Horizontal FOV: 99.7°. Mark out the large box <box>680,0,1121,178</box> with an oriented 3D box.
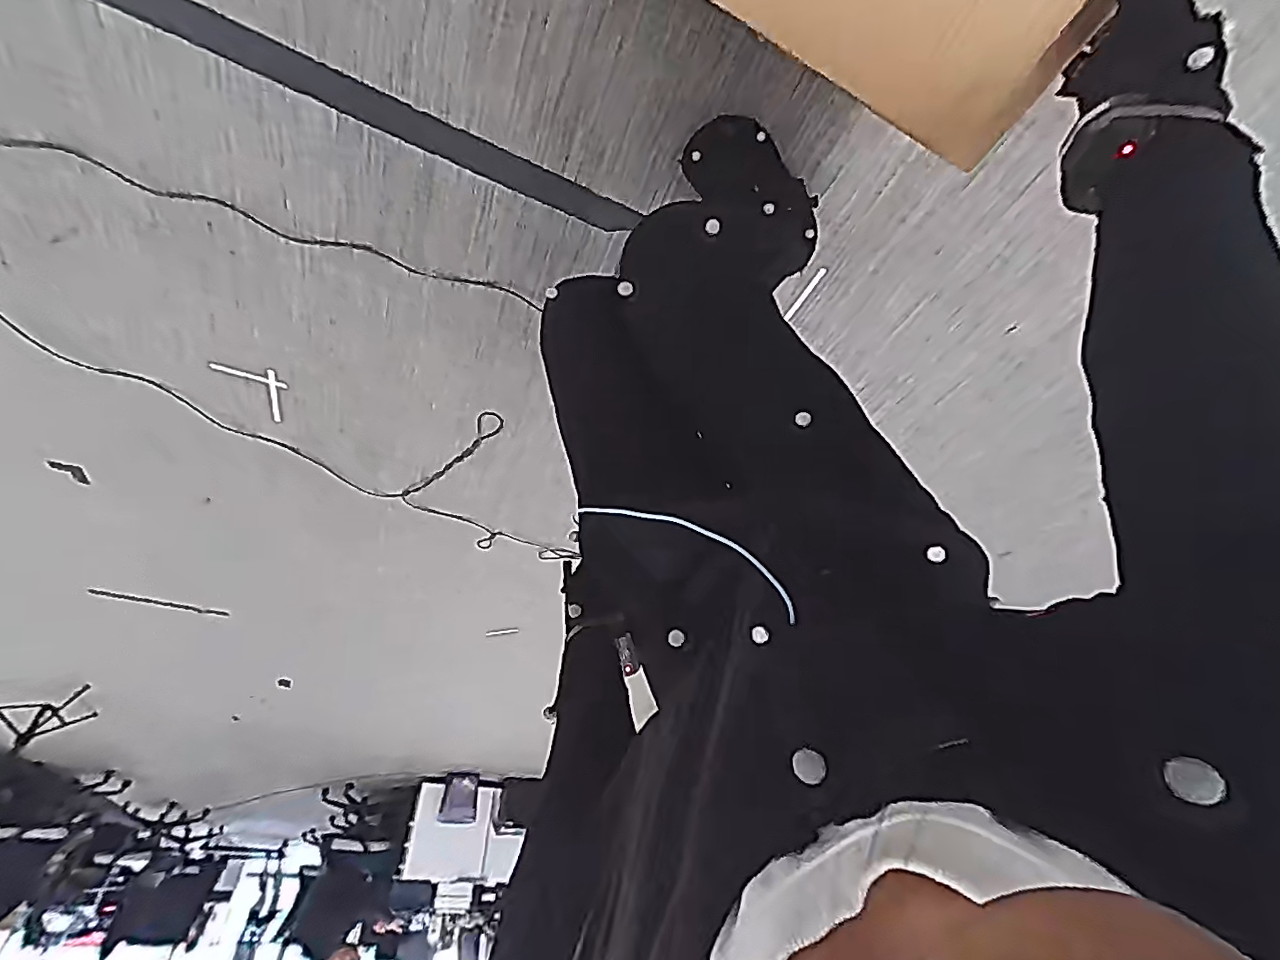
[{"bbox_3d":[0.214,-0.557,0.474,0.408,0.320,0.320,19,135,-19],"label":"large box"}]
